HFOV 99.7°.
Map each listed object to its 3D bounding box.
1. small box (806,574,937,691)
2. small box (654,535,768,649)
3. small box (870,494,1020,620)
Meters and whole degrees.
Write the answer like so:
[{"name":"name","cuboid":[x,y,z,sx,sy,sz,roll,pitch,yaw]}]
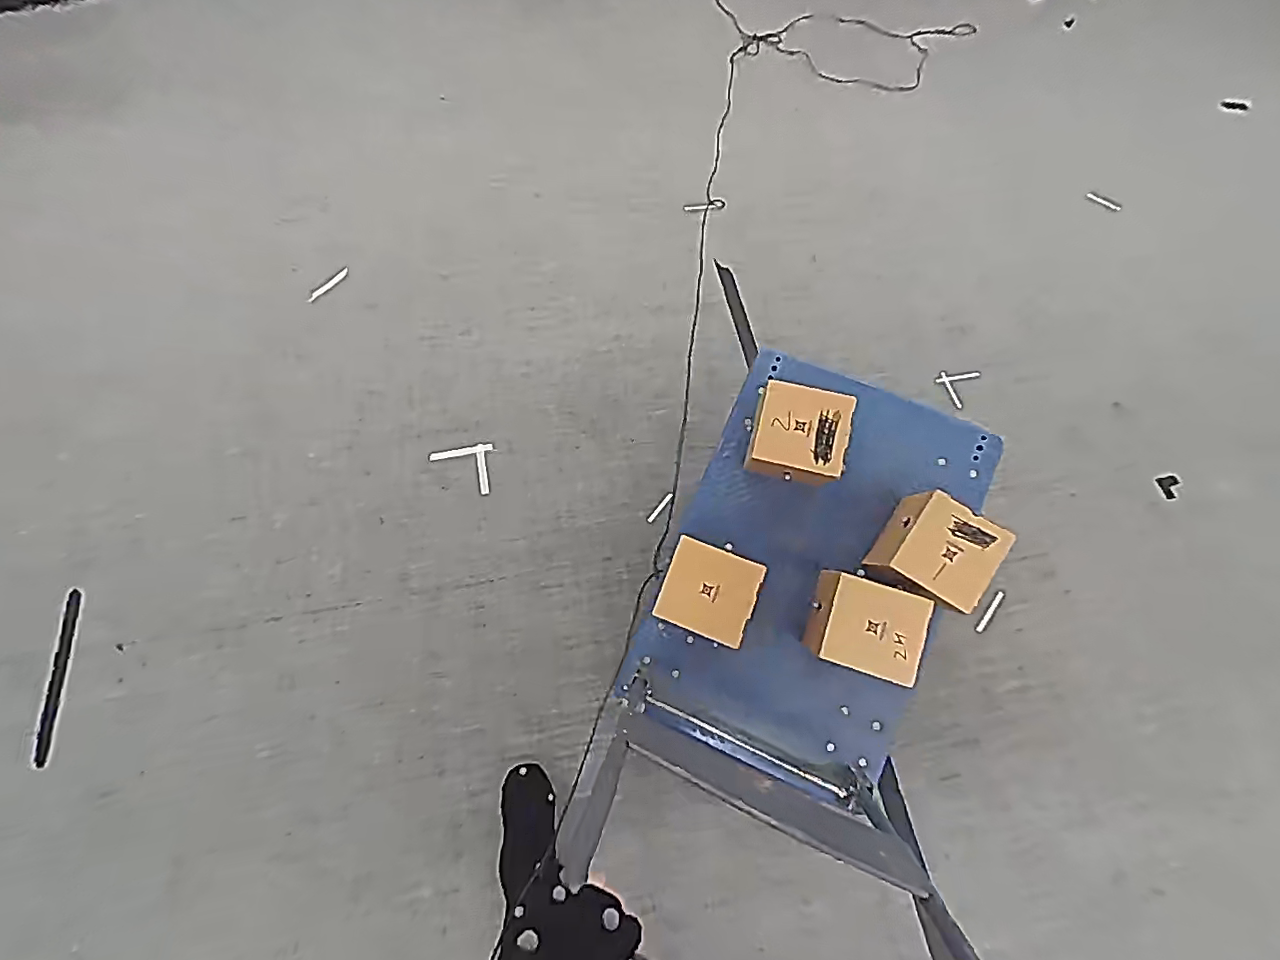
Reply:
[{"name":"small box","cuboid":[0.443,0.291,1.066,0.179,0.176,0.168,18,84,8]},{"name":"small box","cuboid":[0.140,0.224,1.105,0.179,0.176,0.168,21,84,6]},{"name":"small box","cuboid":[0.589,0.150,1.073,0.168,0.176,0.179,33,87,10]}]
